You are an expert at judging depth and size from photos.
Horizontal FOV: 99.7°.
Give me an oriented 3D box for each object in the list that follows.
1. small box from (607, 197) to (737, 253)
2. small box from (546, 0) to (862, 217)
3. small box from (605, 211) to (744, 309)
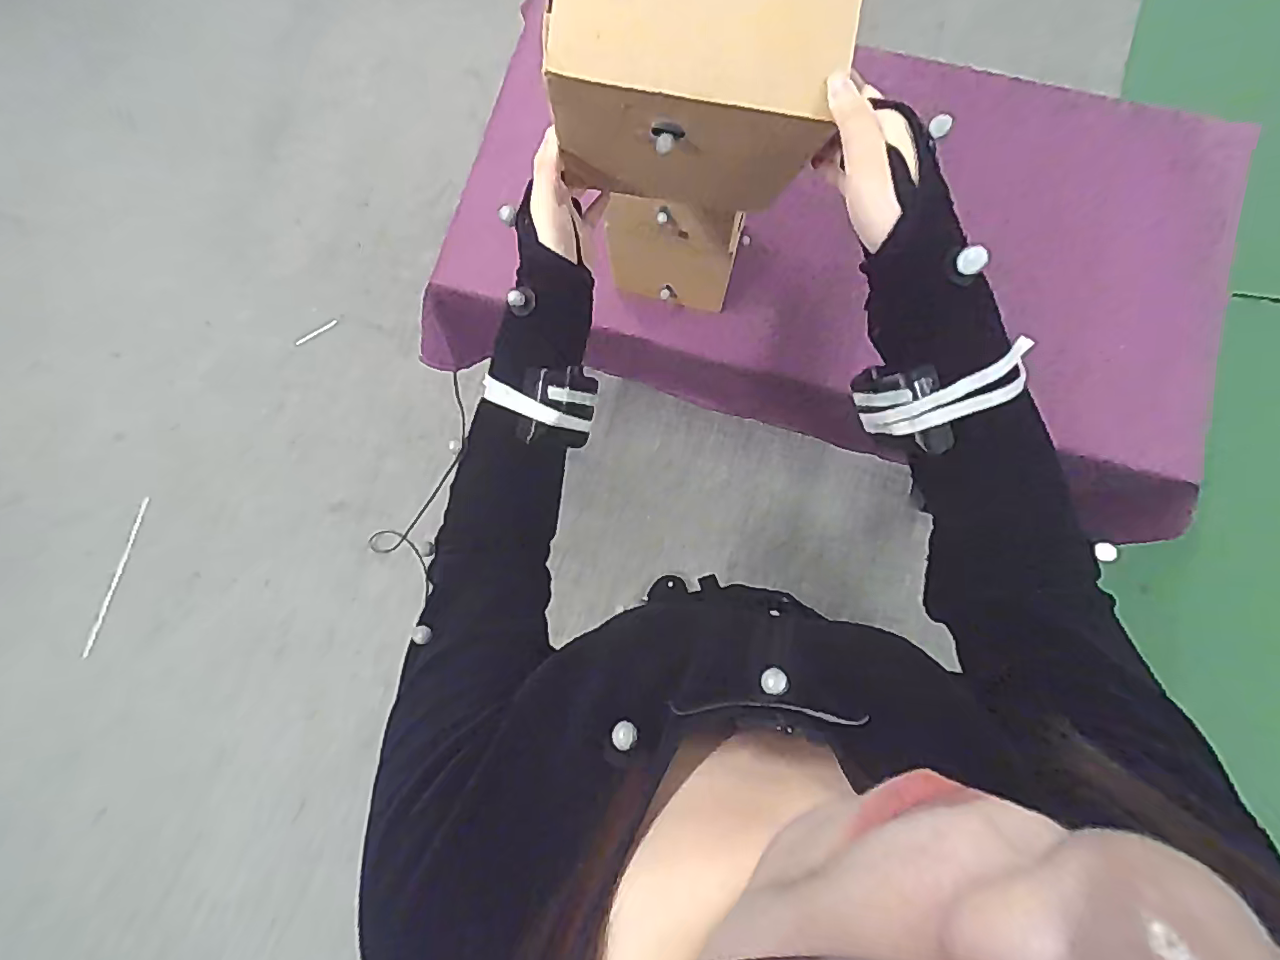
[{"bbox_3d":[0.054,-0.405,0.634,0.168,0.176,0.179,16,82,5],"label":"small box"},{"bbox_3d":[0.037,-0.303,0.379,0.179,0.176,0.168,6,99,-5],"label":"small box"},{"bbox_3d":[0.059,-0.374,0.796,0.179,0.176,0.168,15,81,4],"label":"small box"}]
